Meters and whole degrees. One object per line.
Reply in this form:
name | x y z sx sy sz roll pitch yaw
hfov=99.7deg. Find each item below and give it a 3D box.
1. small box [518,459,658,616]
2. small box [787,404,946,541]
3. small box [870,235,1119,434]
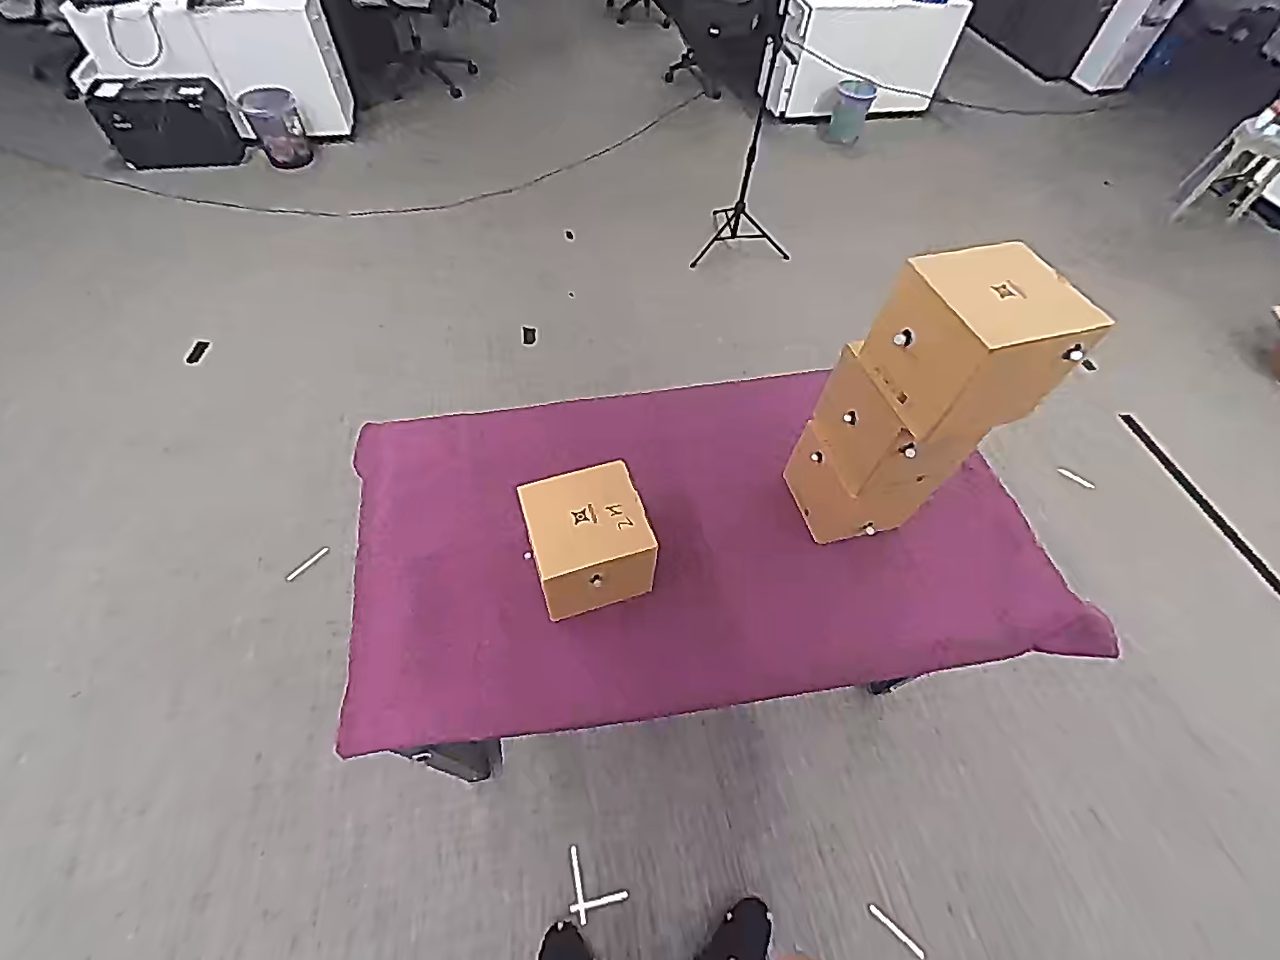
small box | -0.082 0.096 0.865 0.179 0.176 0.168 -14 58 -13
small box | 0.391 -0.011 0.967 0.179 0.176 0.168 -10 57 -11
small box | 0.422 -0.179 0.687 0.179 0.176 0.168 -13 58 -12
